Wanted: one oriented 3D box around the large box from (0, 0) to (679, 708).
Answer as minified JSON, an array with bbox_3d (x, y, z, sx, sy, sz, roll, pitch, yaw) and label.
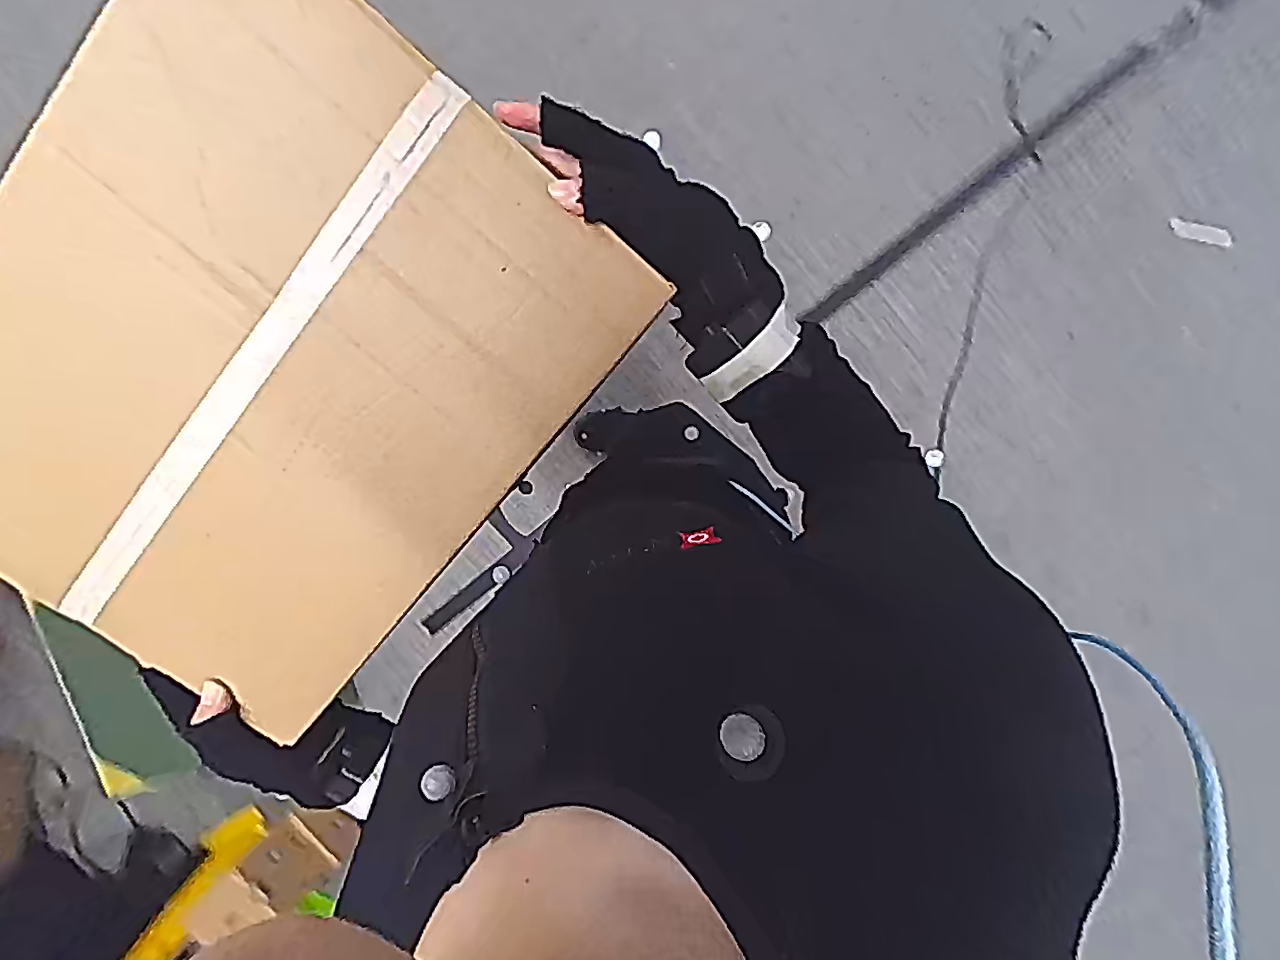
[{"bbox_3d":[-0.220,-0.107,0.478,0.320,0.320,0.408,41,99,-11],"label":"large box"}]
